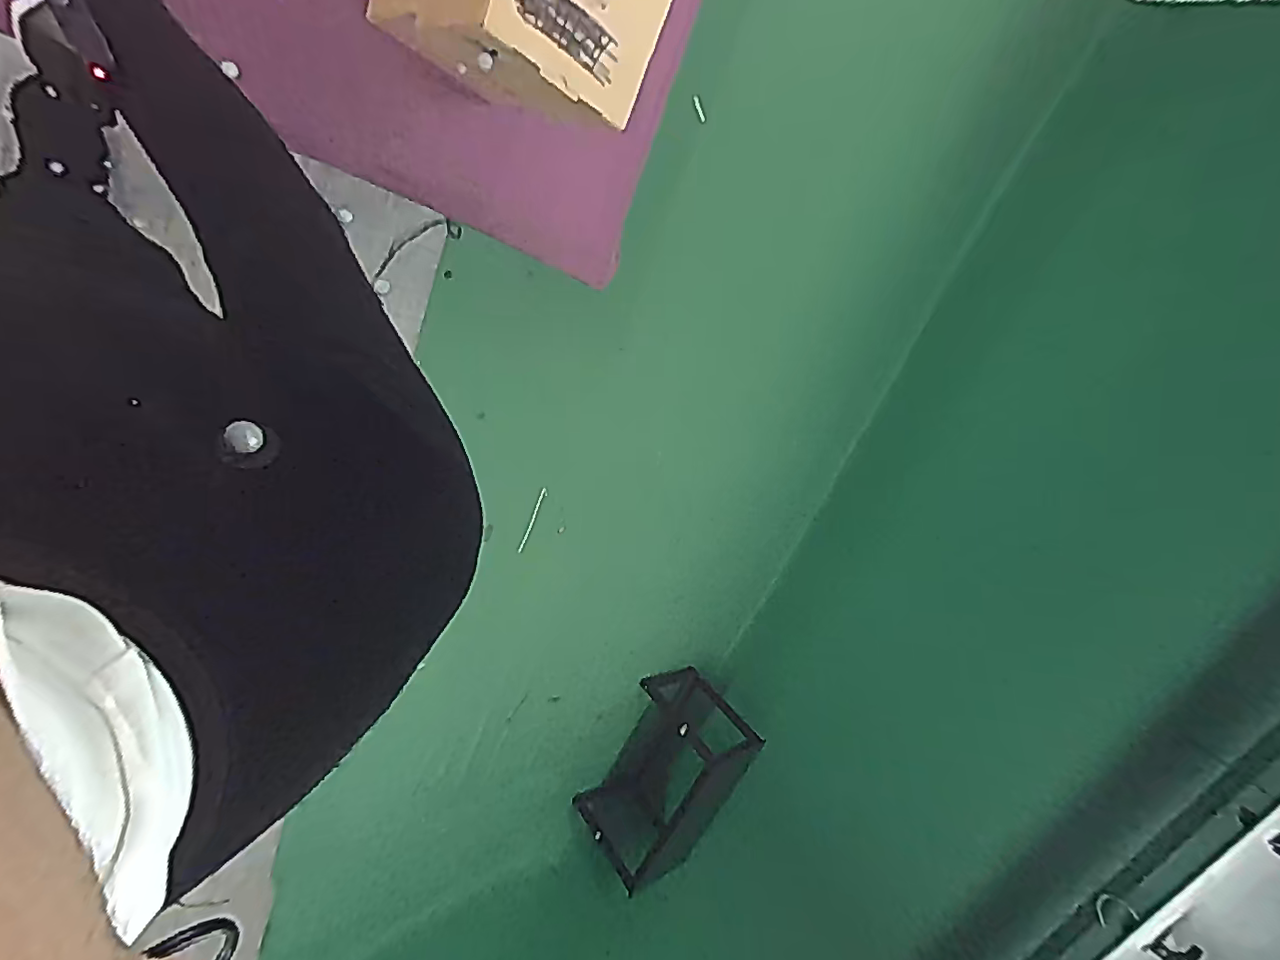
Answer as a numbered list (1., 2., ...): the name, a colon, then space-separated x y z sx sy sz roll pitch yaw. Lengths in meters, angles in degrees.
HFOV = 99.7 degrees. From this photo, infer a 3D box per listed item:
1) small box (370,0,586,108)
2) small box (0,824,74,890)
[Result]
1. small box: -0.188 -0.572 0.631 0.179 0.176 0.168 5 116 -48
2. small box: -1.806 1.157 1.584 0.179 0.176 0.168 16 109 -50
